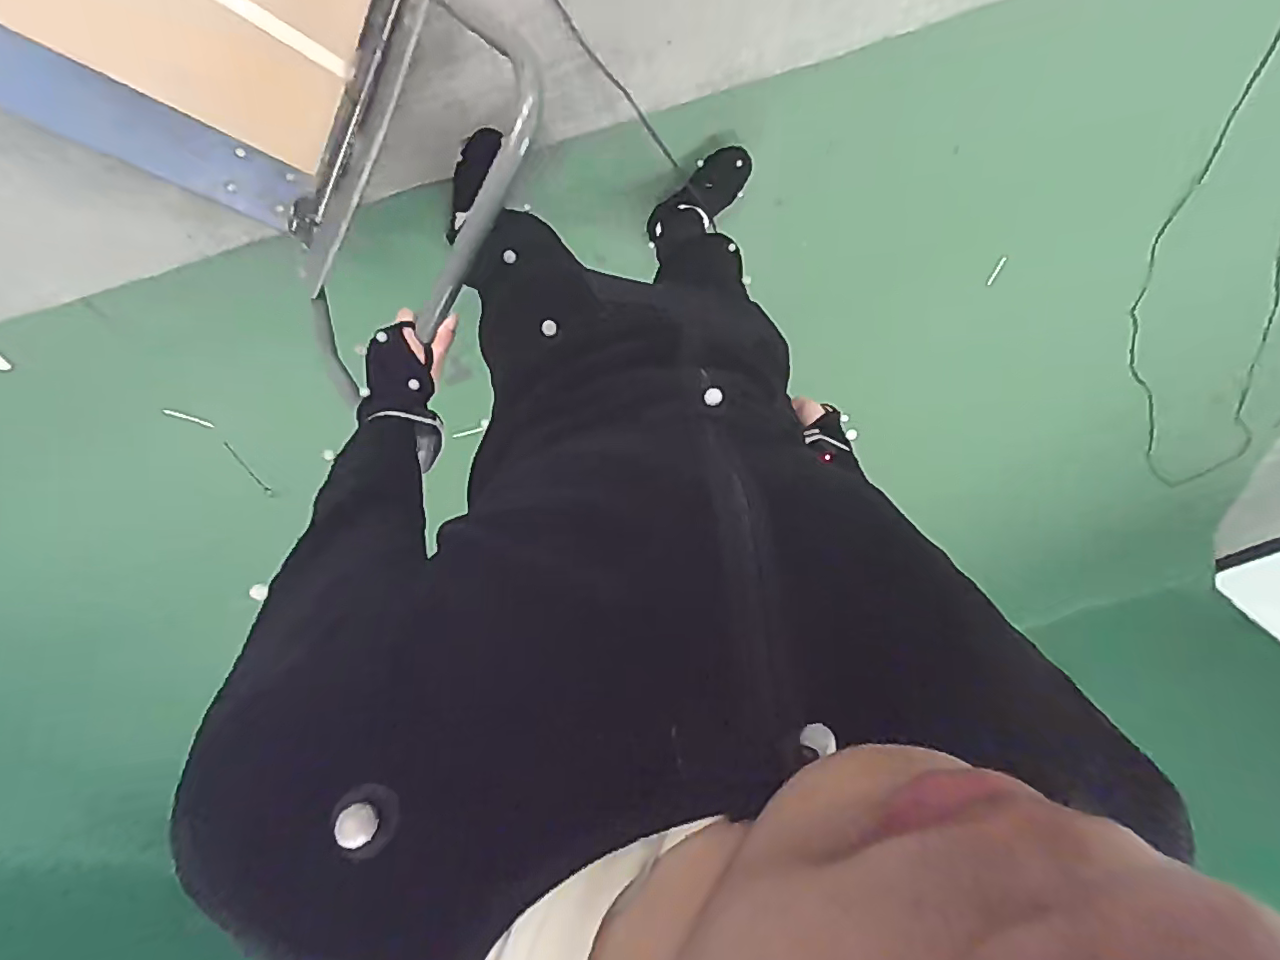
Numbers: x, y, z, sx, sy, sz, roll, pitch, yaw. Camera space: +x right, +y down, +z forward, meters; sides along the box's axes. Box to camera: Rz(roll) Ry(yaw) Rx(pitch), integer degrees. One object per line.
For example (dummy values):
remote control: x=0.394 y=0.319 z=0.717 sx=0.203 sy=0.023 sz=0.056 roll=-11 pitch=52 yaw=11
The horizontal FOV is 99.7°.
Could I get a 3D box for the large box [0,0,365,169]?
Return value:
large box: x=-0.613 y=-0.710 z=0.722 sx=0.408 sy=0.320 sz=0.320 roll=13 pitch=124 yaw=-40
